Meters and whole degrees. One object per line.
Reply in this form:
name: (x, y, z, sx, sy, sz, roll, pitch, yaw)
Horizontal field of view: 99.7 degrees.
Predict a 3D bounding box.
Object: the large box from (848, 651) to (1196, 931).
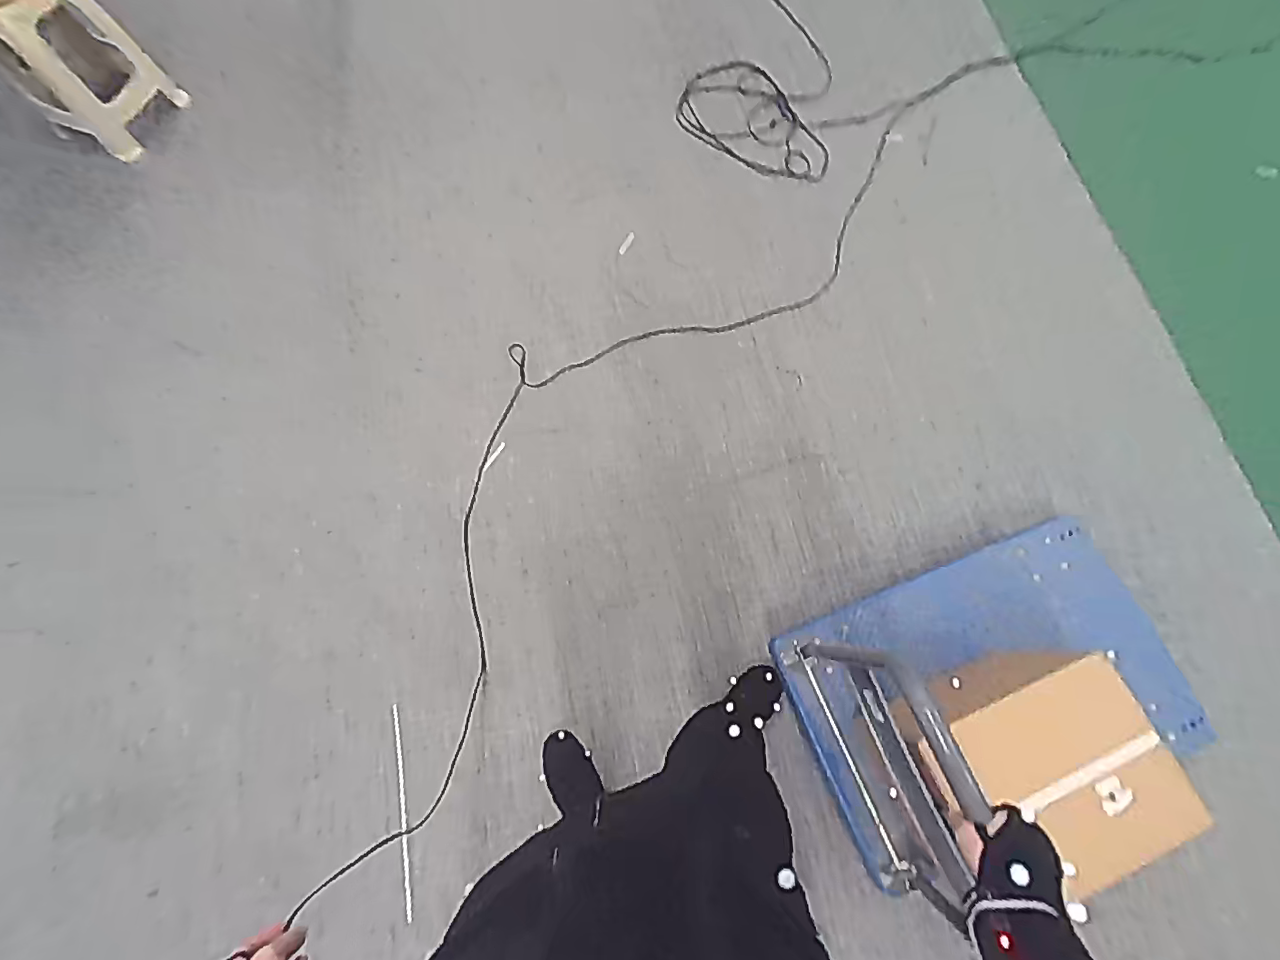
large box: (0.712, 0.571, 1.080, 0.408, 0.320, 0.320, -22, 75, -8)
